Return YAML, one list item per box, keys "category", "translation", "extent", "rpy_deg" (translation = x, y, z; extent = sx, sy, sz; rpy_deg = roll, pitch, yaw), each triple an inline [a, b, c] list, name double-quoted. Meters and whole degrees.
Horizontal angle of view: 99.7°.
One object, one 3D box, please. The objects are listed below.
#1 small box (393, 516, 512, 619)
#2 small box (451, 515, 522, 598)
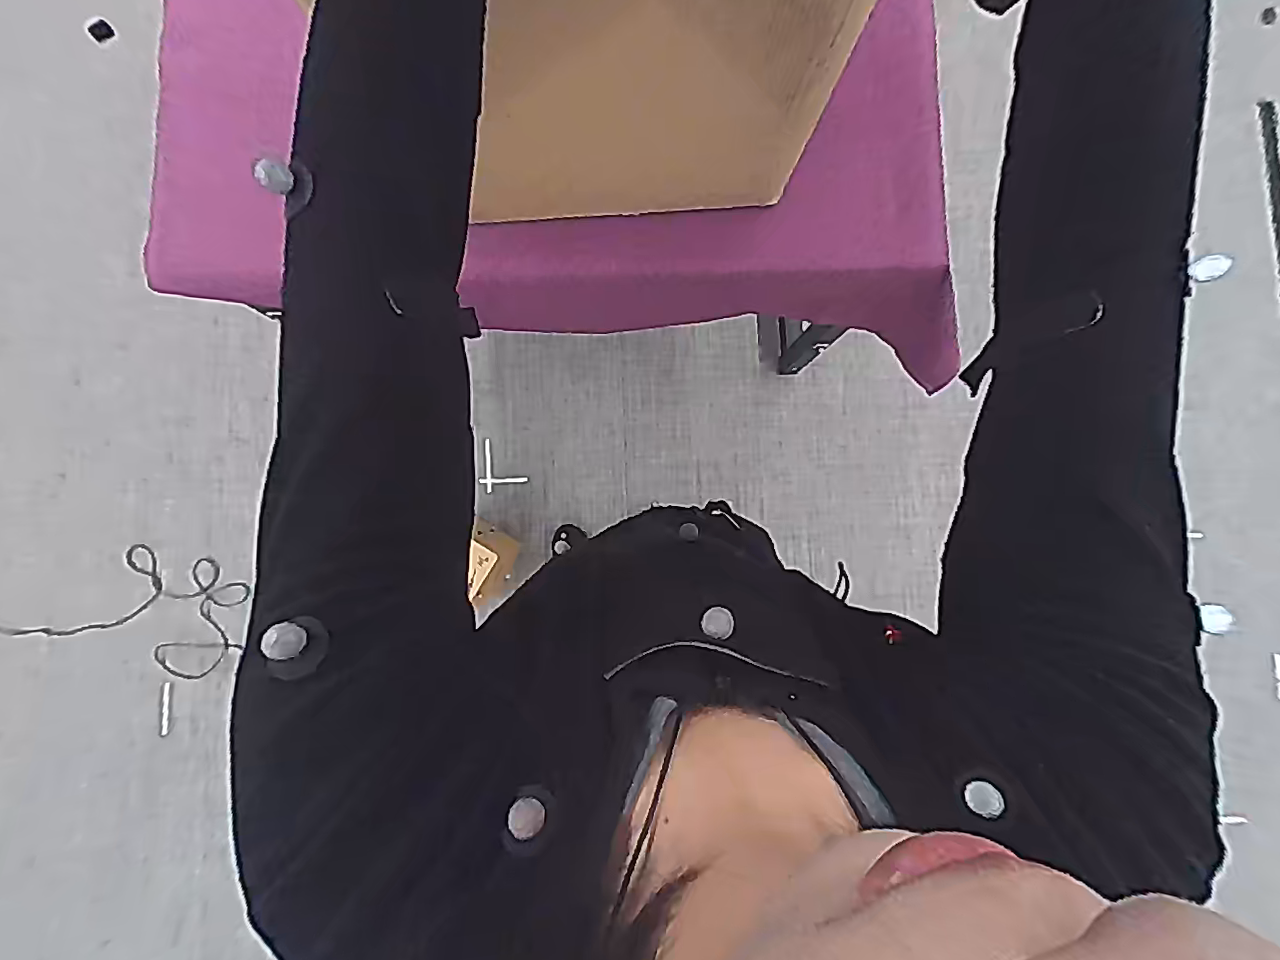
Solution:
- category: "small box"
  translation: [-0.426, 0.199, 1.257]
  extent: [0.179, 0.176, 0.168]
  rpy_deg: [31, 86, 1]
- category: "small box"
  translation: [-0.436, 0.207, 1.421]
  extent: [0.179, 0.176, 0.168]
  rpy_deg: [29, 86, 0]
